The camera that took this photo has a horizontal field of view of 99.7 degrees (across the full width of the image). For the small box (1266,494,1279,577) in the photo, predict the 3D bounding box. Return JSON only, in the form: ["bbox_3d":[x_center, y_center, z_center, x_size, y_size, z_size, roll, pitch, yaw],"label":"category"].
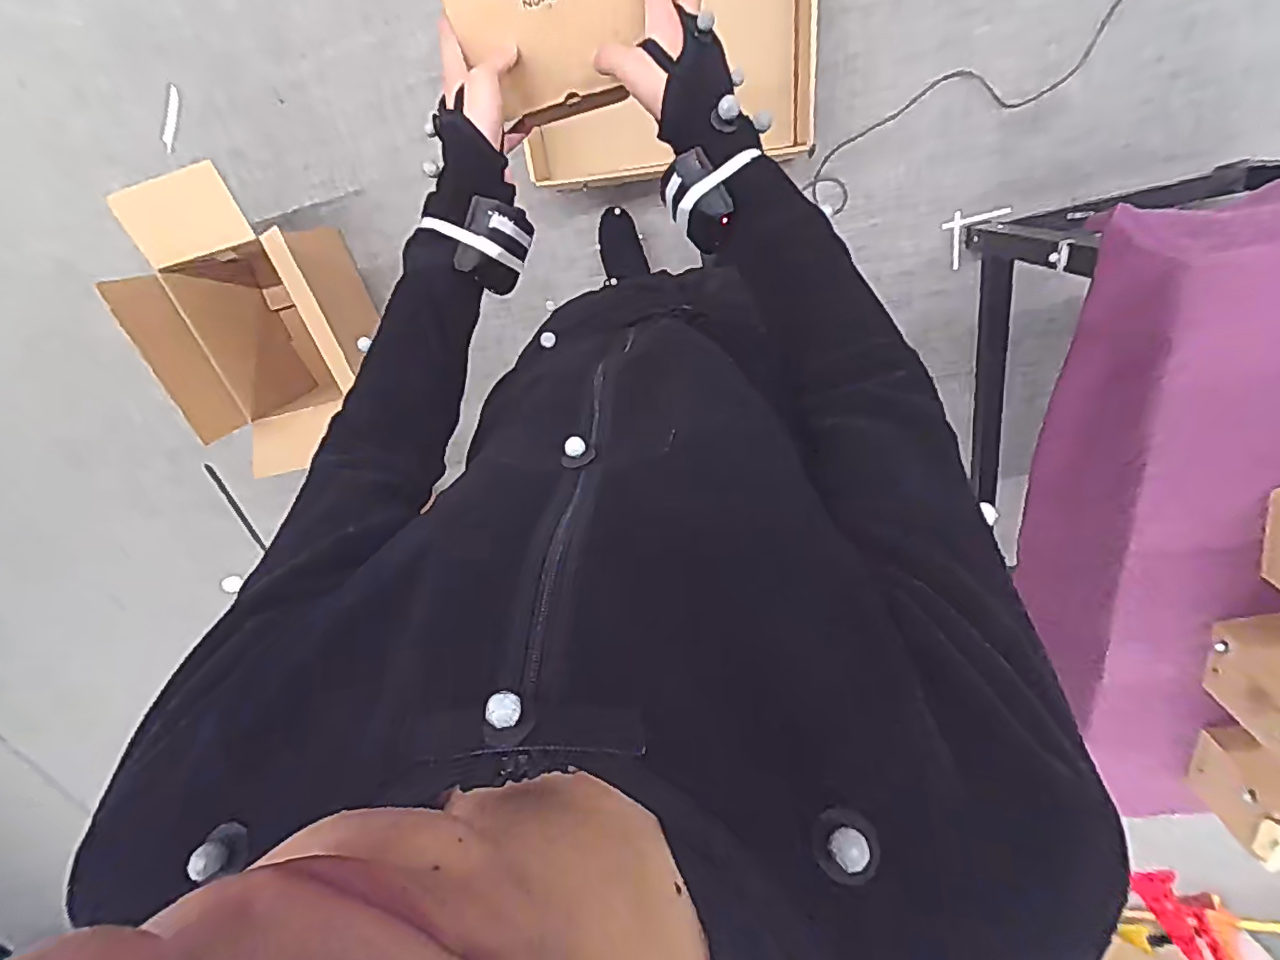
[{"bbox_3d":[1.054,0.098,0.759,0.168,0.176,0.179,-17,115,16],"label":"small box"}]

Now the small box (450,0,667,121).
[{"bbox_3d":[-0.071,-0.456,0.479,0.168,0.176,0.179,-8,133,11],"label":"small box"}]

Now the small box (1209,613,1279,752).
[{"bbox_3d":[1.098,0.329,0.880,0.179,0.176,0.168,-14,116,13],"label":"small box"}]
